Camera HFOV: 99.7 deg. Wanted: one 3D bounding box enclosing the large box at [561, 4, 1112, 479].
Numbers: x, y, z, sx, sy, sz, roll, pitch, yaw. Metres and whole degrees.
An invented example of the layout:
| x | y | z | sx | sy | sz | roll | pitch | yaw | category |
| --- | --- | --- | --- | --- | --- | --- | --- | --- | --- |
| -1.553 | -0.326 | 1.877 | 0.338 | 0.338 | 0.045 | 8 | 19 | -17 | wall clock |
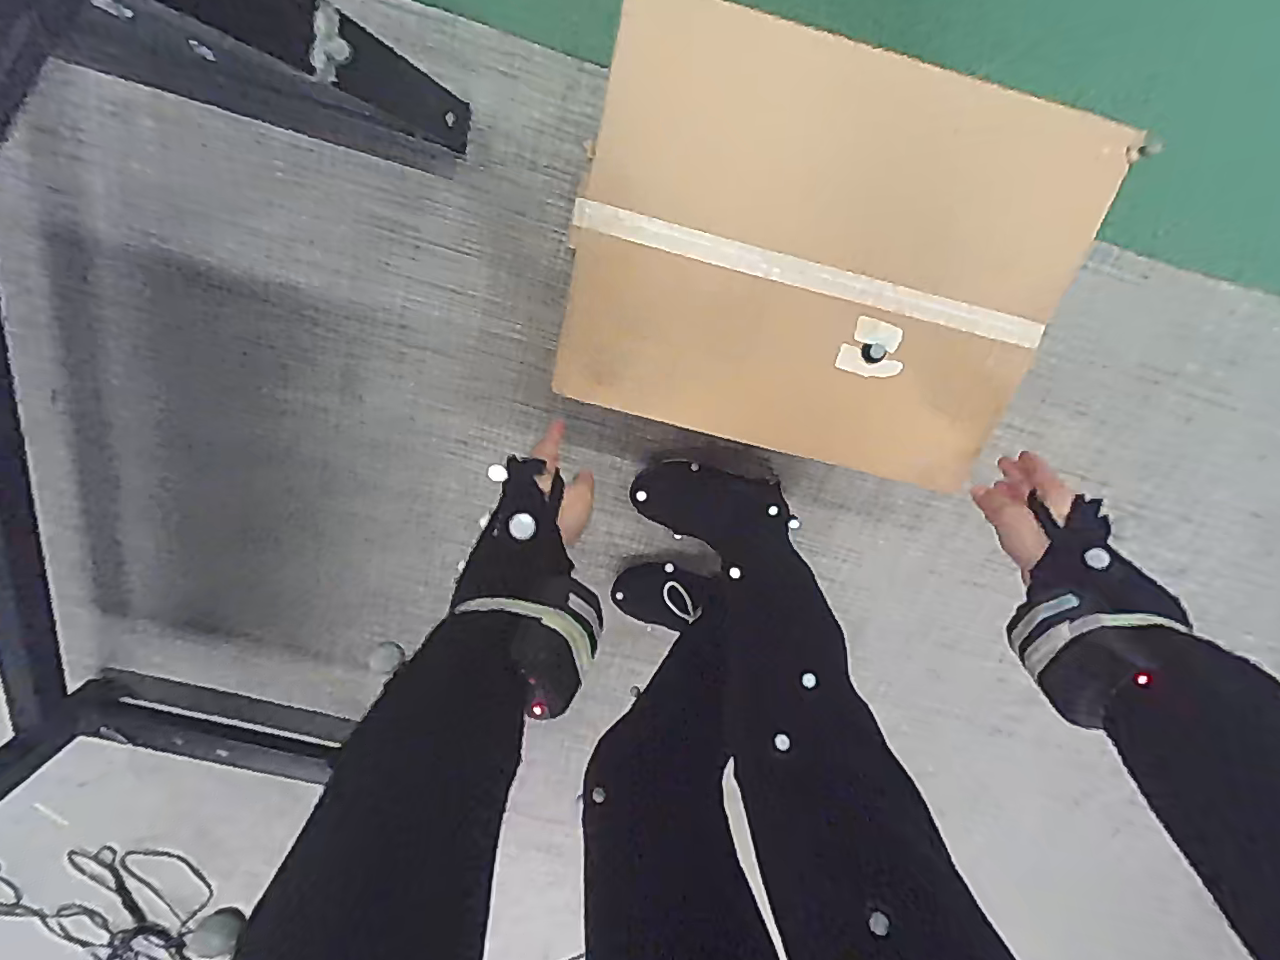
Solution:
| x | y | z | sx | sy | sz | roll | pitch | yaw | category |
| --- | --- | --- | --- | --- | --- | --- | --- | --- | --- |
| 0.151 | -0.232 | 0.607 | 0.408 | 0.320 | 0.320 | 13 | 112 | -4 | large box |
